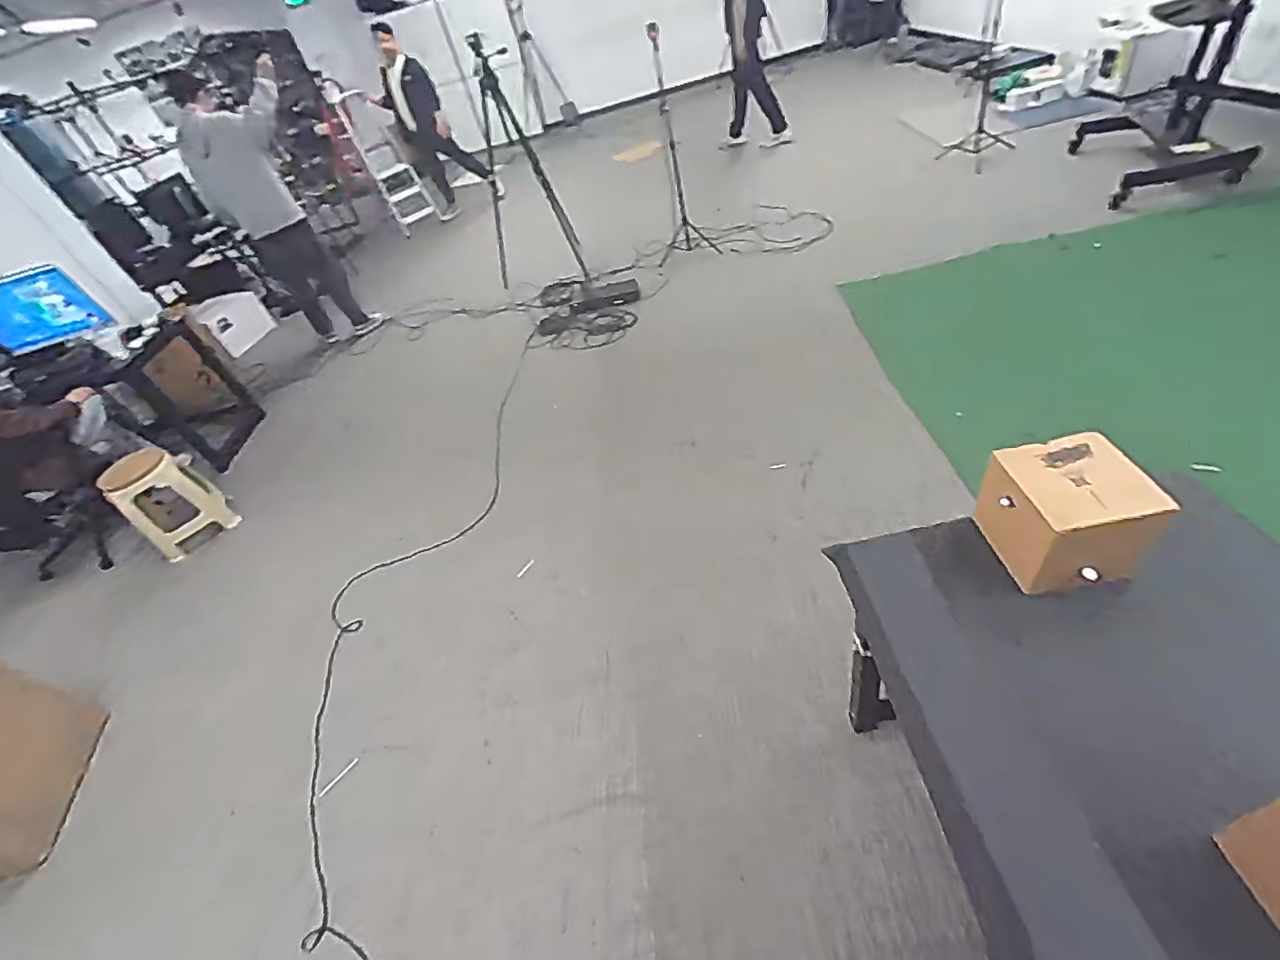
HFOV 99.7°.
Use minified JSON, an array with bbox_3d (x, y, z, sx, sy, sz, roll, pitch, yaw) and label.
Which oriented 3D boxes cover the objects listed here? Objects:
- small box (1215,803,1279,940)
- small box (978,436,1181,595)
[{"bbox_3d":[0.729,0.405,0.505,0.168,0.176,0.179,-11,42,4],"label":"small box"},{"bbox_3d":[0.681,0.059,0.870,0.168,0.176,0.179,-11,45,6],"label":"small box"}]
